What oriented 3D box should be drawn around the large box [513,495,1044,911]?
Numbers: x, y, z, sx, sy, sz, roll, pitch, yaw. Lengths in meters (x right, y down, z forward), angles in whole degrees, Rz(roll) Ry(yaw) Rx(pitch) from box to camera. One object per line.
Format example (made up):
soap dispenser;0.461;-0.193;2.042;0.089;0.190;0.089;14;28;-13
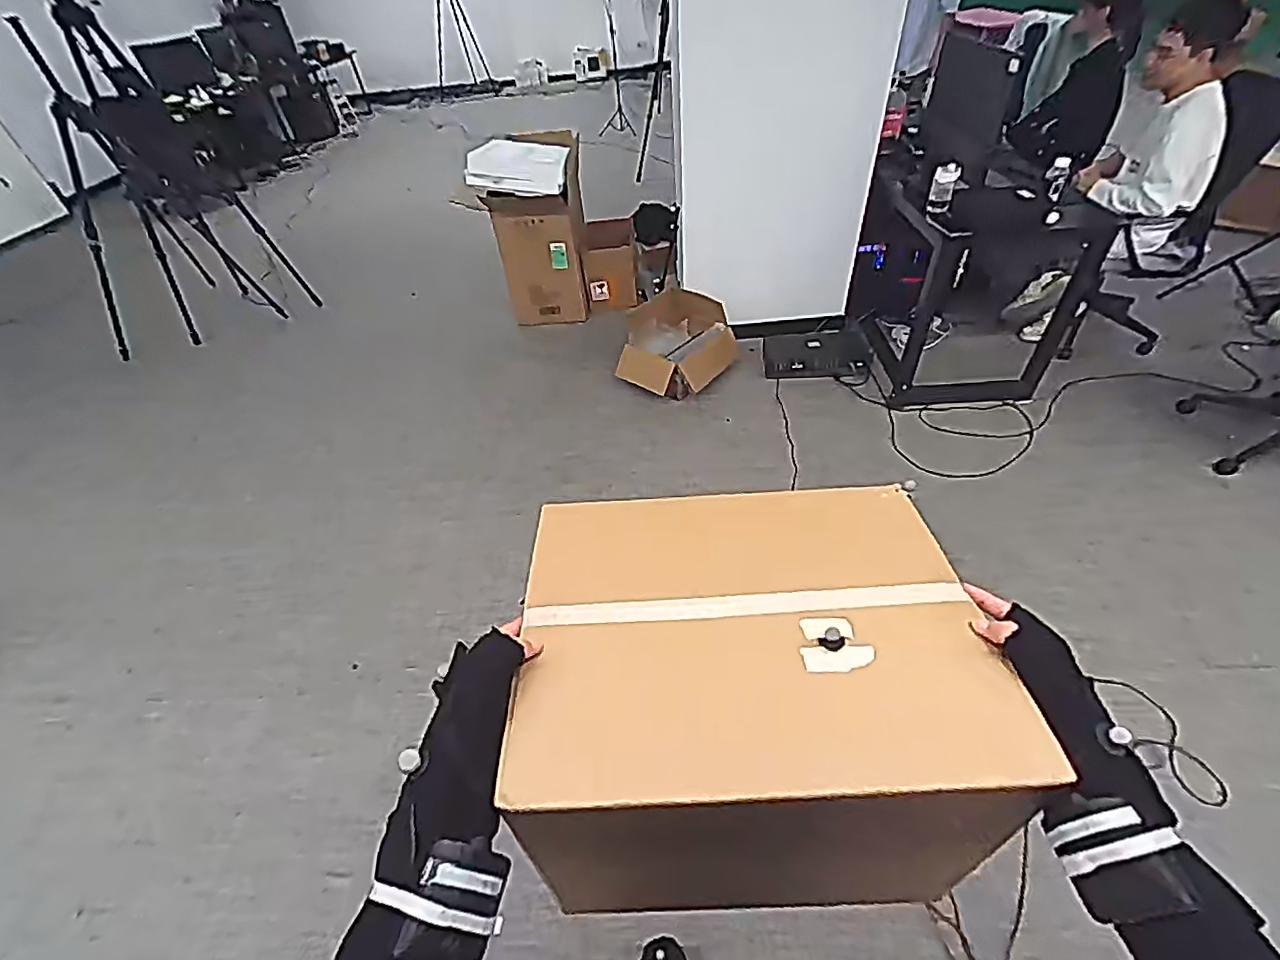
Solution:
large box;0.103;0.241;0.604;0.408;0.320;0.320;-3;40;1
